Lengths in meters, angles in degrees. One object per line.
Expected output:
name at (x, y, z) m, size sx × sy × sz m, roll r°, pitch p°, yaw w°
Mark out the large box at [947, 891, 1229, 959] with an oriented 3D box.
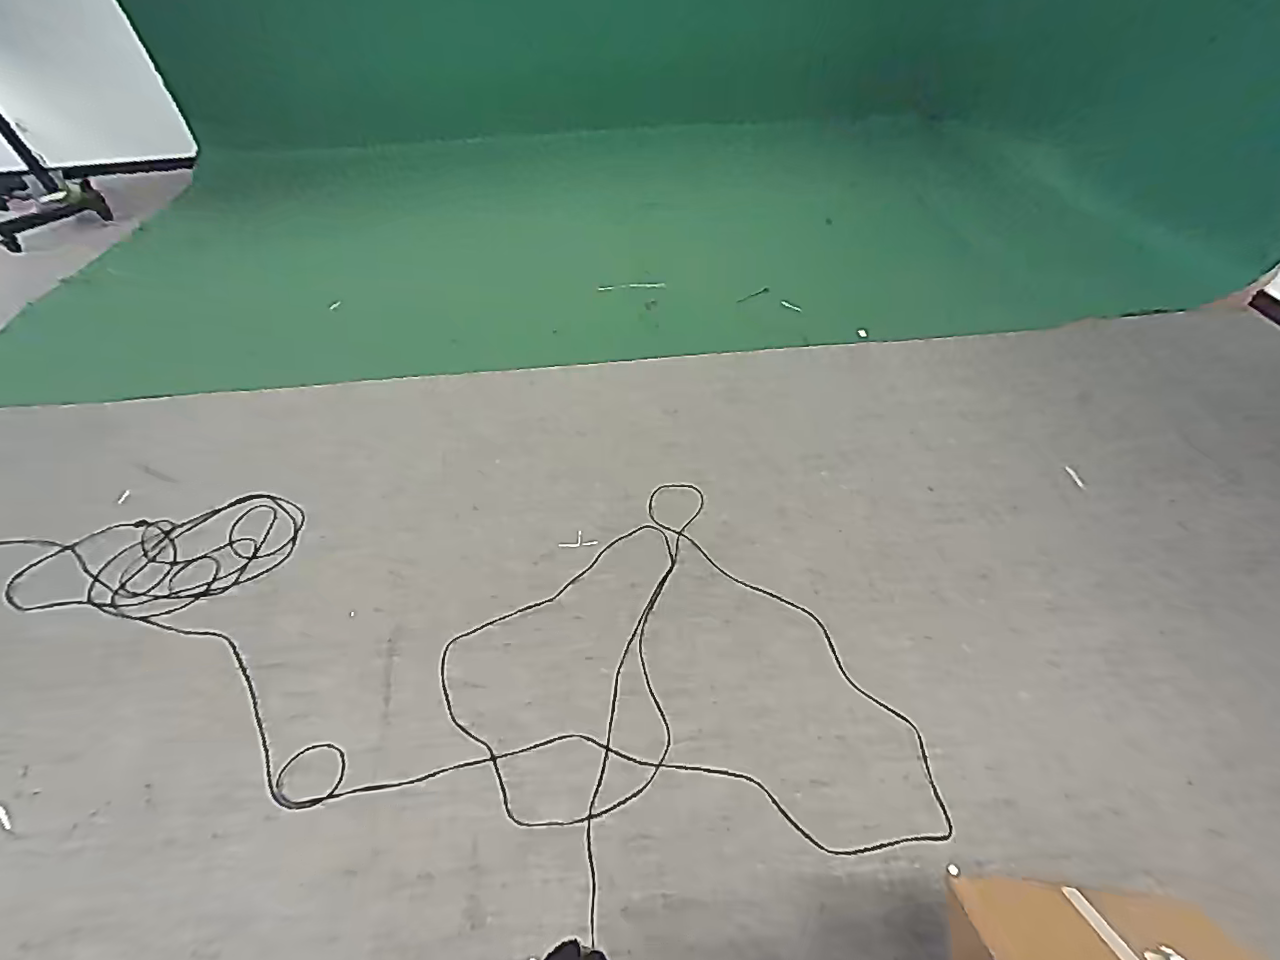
large box at (0.575, 0.748, 0.576) m, size 0.320 × 0.408 × 0.320 m, roll 1°, pitch 87°, yaw 10°
